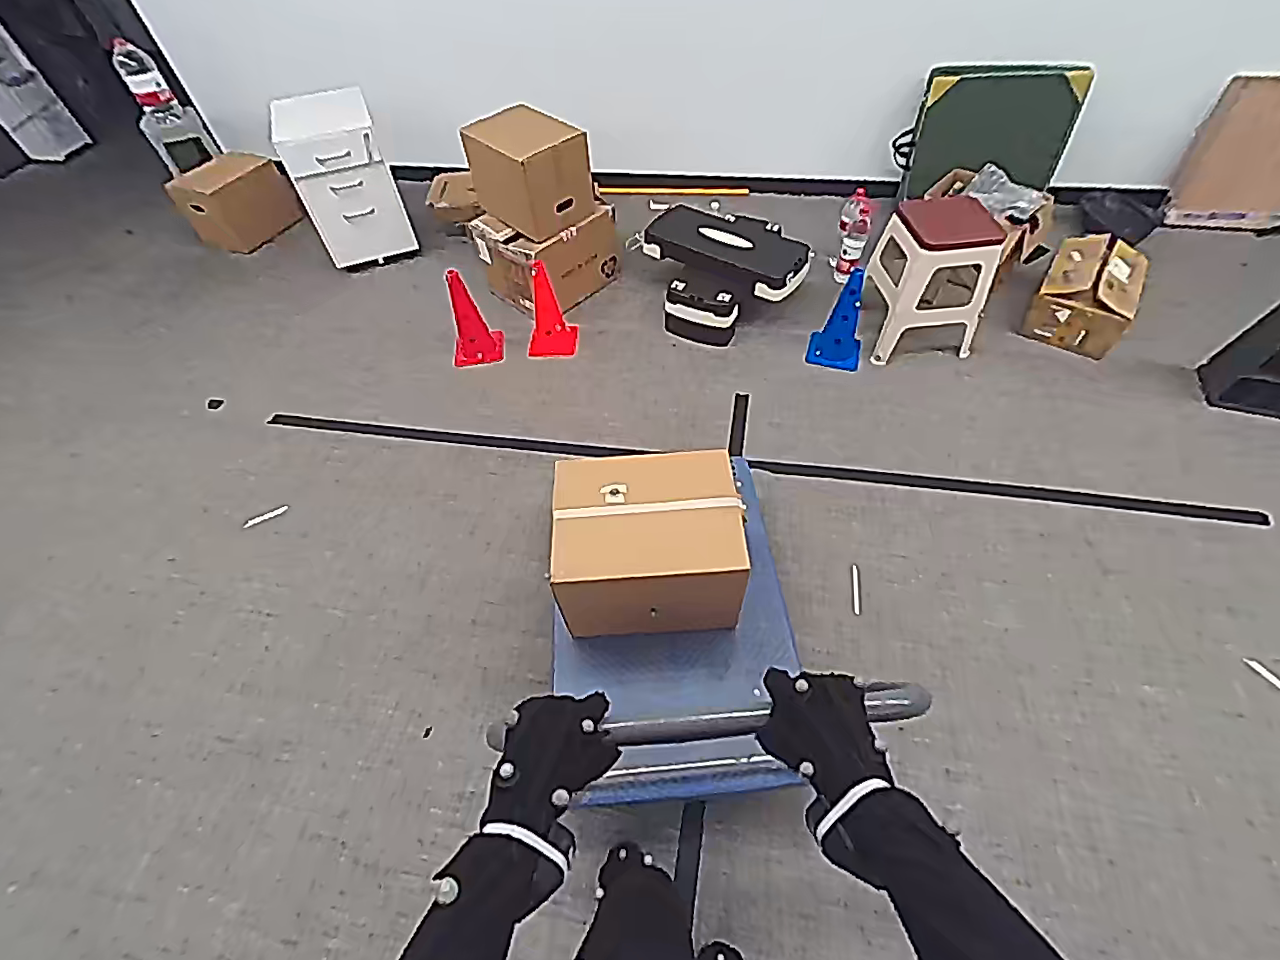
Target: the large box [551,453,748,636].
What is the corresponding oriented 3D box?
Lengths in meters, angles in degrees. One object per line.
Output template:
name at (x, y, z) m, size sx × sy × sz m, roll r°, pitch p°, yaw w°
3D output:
large box at (0.020, 0.162, 1.288) m, size 0.408 × 0.320 × 0.320 m, roll -4°, pitch 53°, yaw 1°
